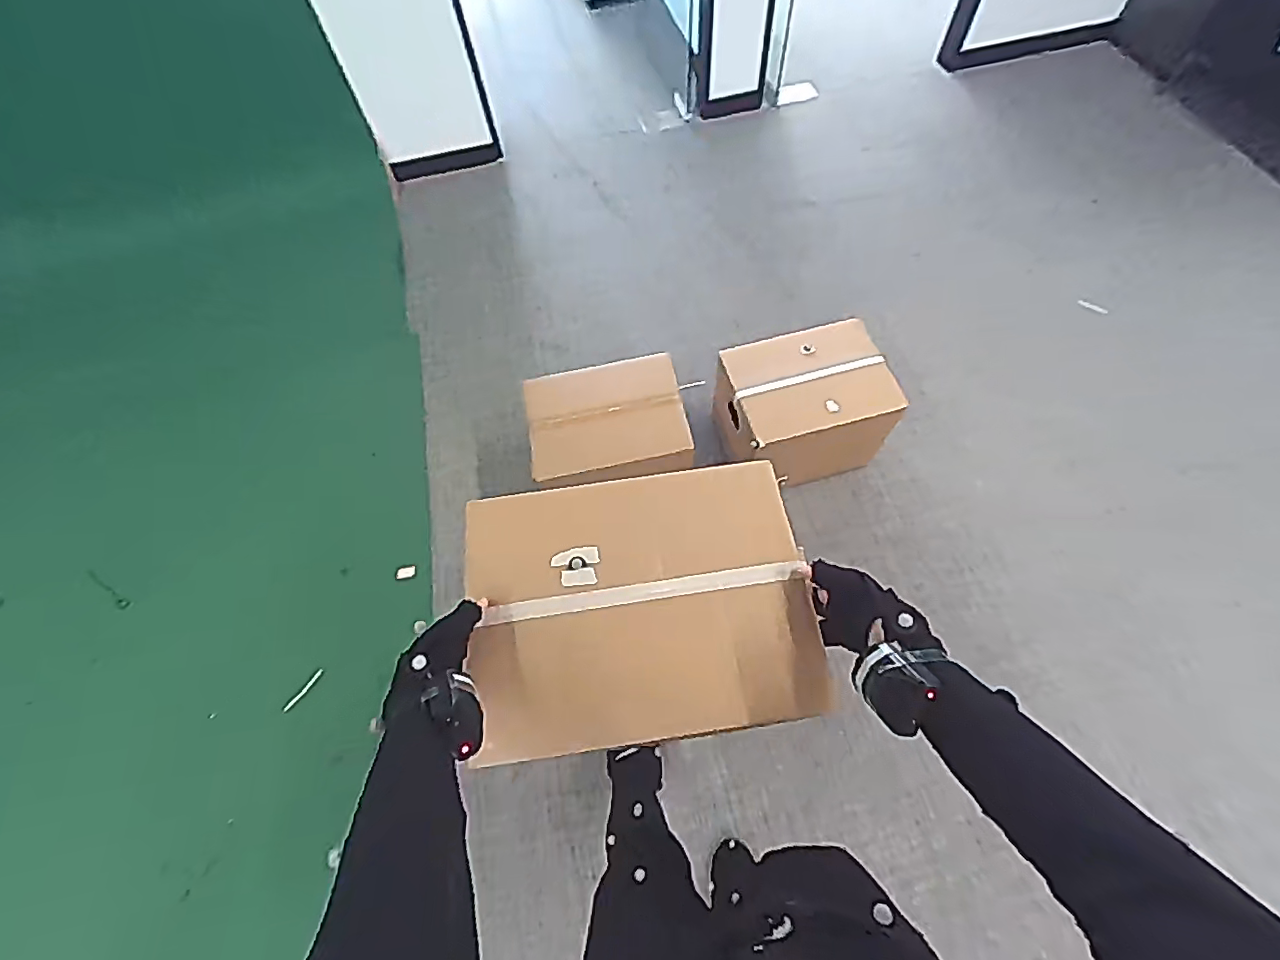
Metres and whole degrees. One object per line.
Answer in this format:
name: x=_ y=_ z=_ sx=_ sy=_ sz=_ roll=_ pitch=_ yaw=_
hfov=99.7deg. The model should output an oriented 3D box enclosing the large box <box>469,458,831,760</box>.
large box: x=0.002 y=0.199 z=0.782 sx=0.408 sy=0.320 sz=0.320 roll=-8 pitch=63 yaw=-1
